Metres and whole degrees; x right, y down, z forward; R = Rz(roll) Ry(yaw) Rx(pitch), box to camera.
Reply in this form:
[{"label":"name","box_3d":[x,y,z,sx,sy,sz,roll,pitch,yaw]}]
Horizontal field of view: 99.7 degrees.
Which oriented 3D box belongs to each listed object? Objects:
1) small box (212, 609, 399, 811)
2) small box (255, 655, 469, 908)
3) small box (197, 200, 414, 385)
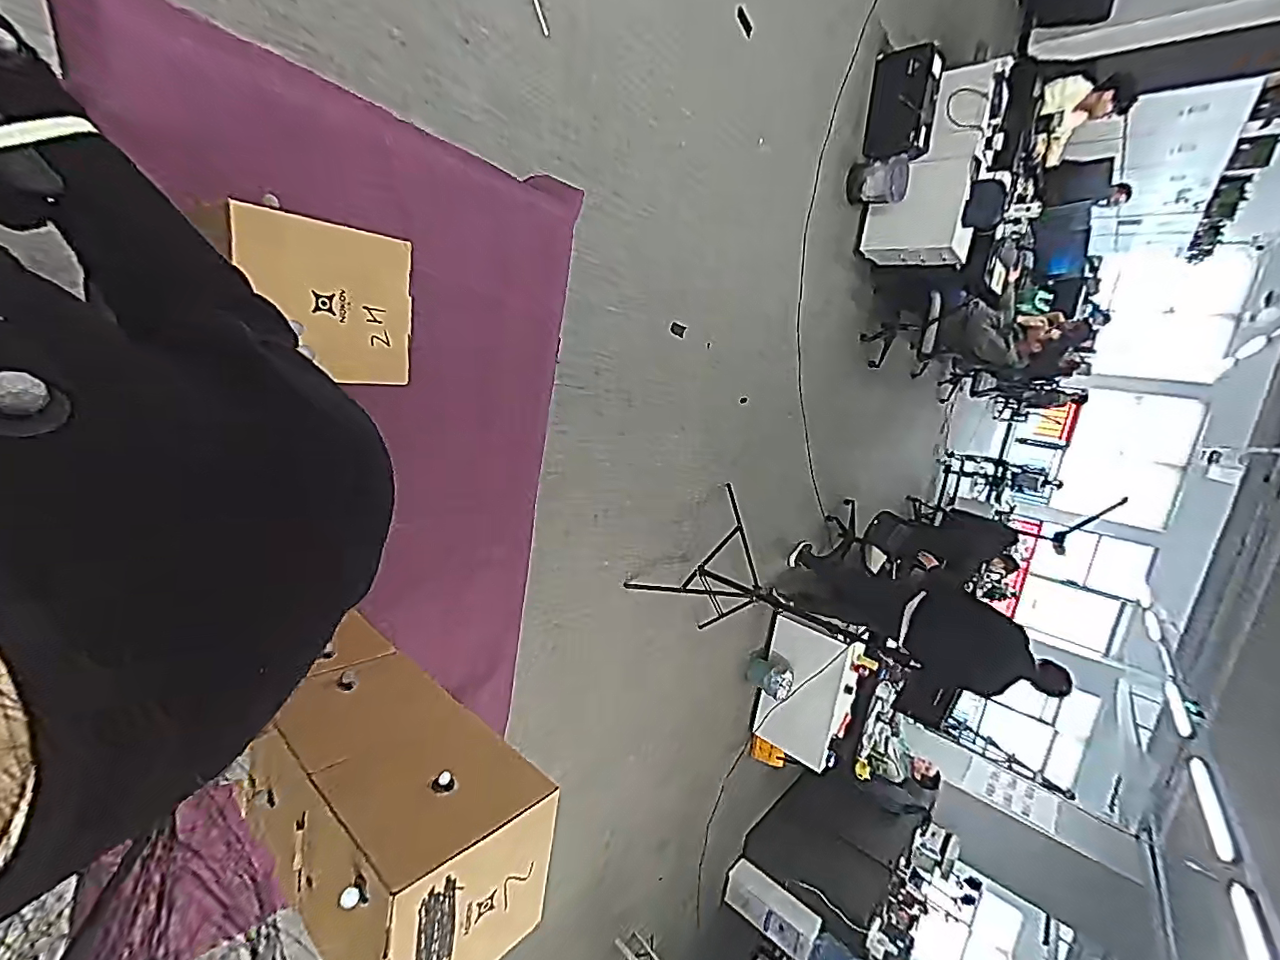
[{"label":"small box","box_3d":[-0.461,0.296,0.742,0.179,0.176,0.168,-3,106,-51]},{"label":"small box","box_3d":[-0.334,0.335,0.645,0.179,0.176,0.168,-1,105,-51]},{"label":"small box","box_3d":[-0.389,-0.206,0.628,0.179,0.176,0.168,-9,111,-50]}]
